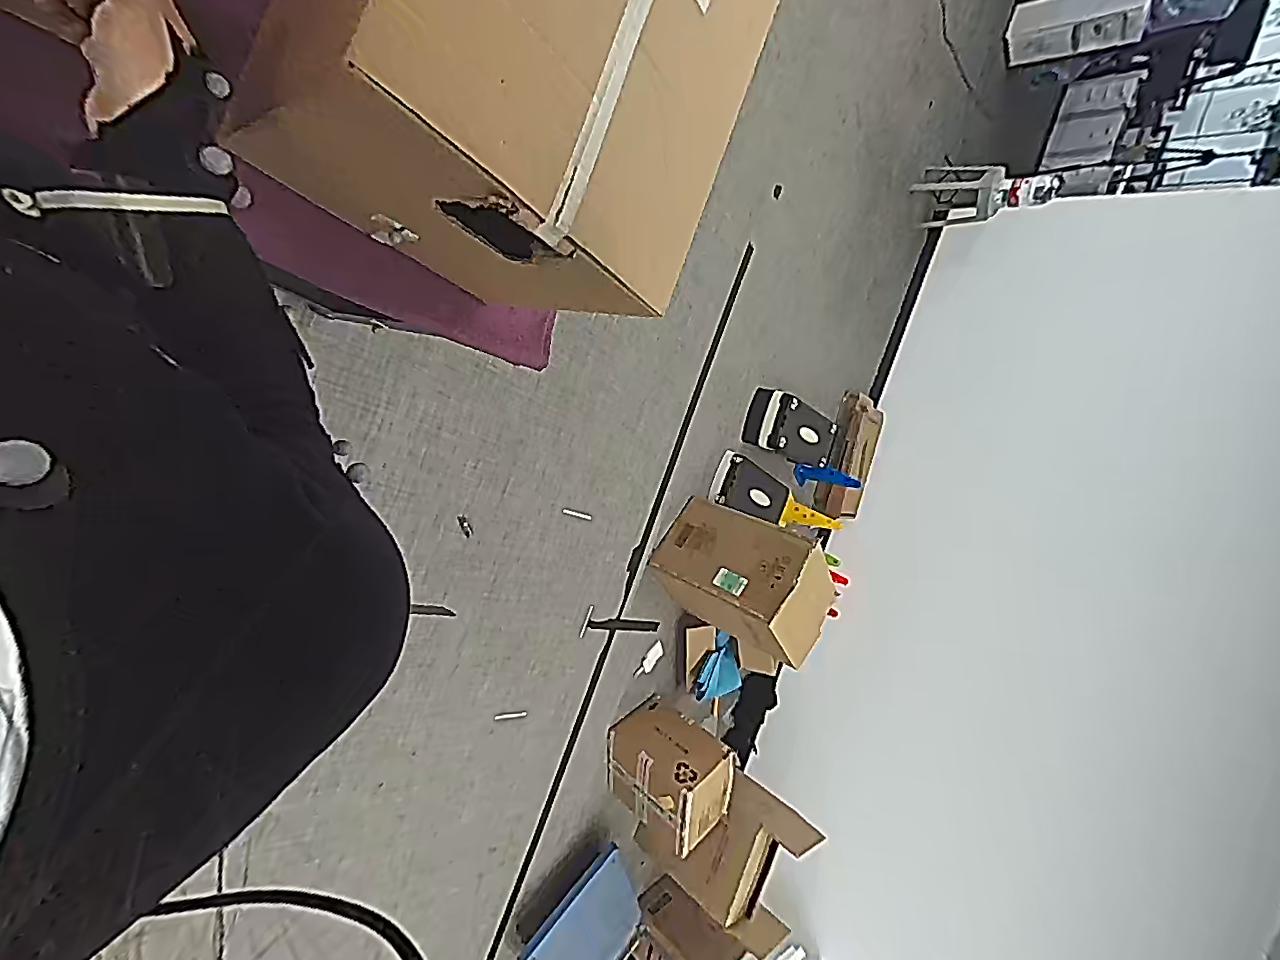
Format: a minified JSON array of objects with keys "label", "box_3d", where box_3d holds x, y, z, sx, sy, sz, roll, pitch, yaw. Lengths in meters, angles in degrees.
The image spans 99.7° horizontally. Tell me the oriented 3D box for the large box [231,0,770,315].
[{"label":"large box","box_3d":[-0.115,-0.412,0.513,0.320,0.320,0.408,21,88,-52]}]
